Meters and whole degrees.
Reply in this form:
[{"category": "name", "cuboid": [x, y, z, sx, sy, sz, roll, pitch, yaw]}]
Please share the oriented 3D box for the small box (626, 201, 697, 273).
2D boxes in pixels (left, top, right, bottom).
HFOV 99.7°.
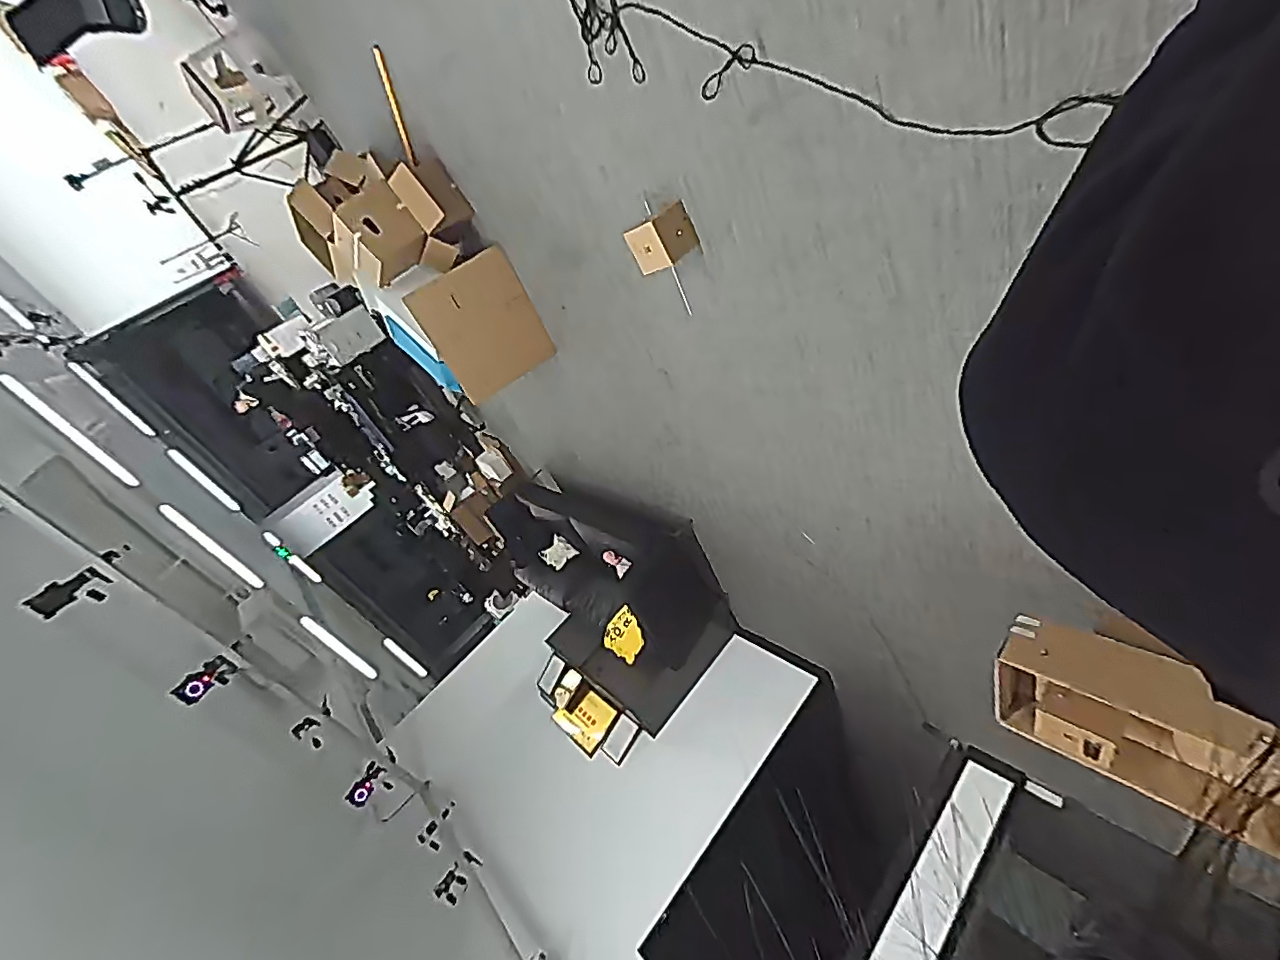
[{"category": "small box", "cuboid": [0.087, -0.891, 1.984, 0.179, 0.176, 0.168, 11, 140, 54]}]
